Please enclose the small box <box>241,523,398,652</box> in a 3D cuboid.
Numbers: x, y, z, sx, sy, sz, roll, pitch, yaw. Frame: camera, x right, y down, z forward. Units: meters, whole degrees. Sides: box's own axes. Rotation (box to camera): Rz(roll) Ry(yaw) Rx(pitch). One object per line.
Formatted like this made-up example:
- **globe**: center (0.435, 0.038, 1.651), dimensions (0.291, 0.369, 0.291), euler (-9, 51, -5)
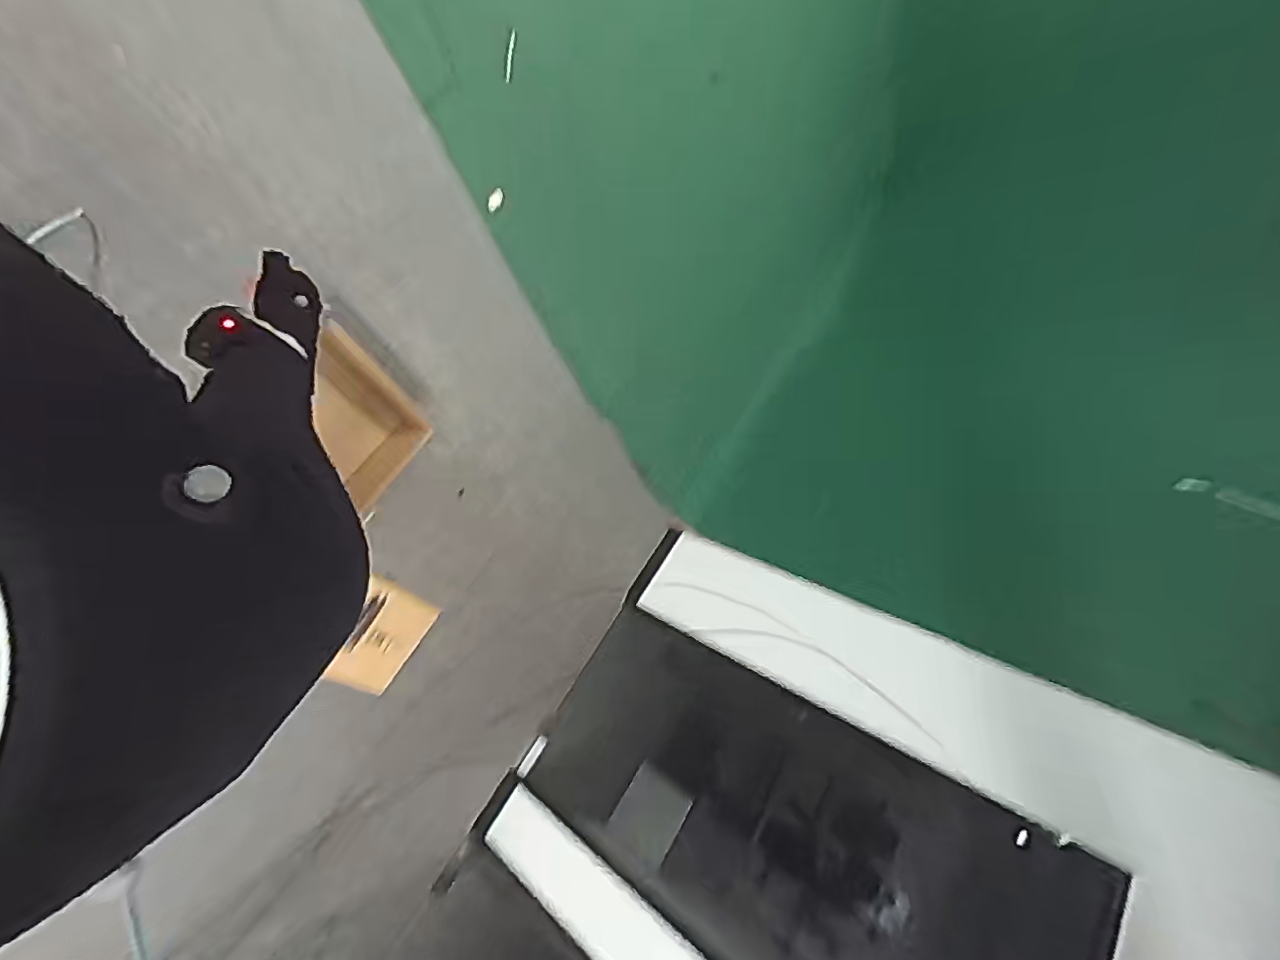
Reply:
- **small box**: center (-0.633, 0.204, 1.068), dimensions (0.168, 0.176, 0.179), euler (-55, 142, -20)
